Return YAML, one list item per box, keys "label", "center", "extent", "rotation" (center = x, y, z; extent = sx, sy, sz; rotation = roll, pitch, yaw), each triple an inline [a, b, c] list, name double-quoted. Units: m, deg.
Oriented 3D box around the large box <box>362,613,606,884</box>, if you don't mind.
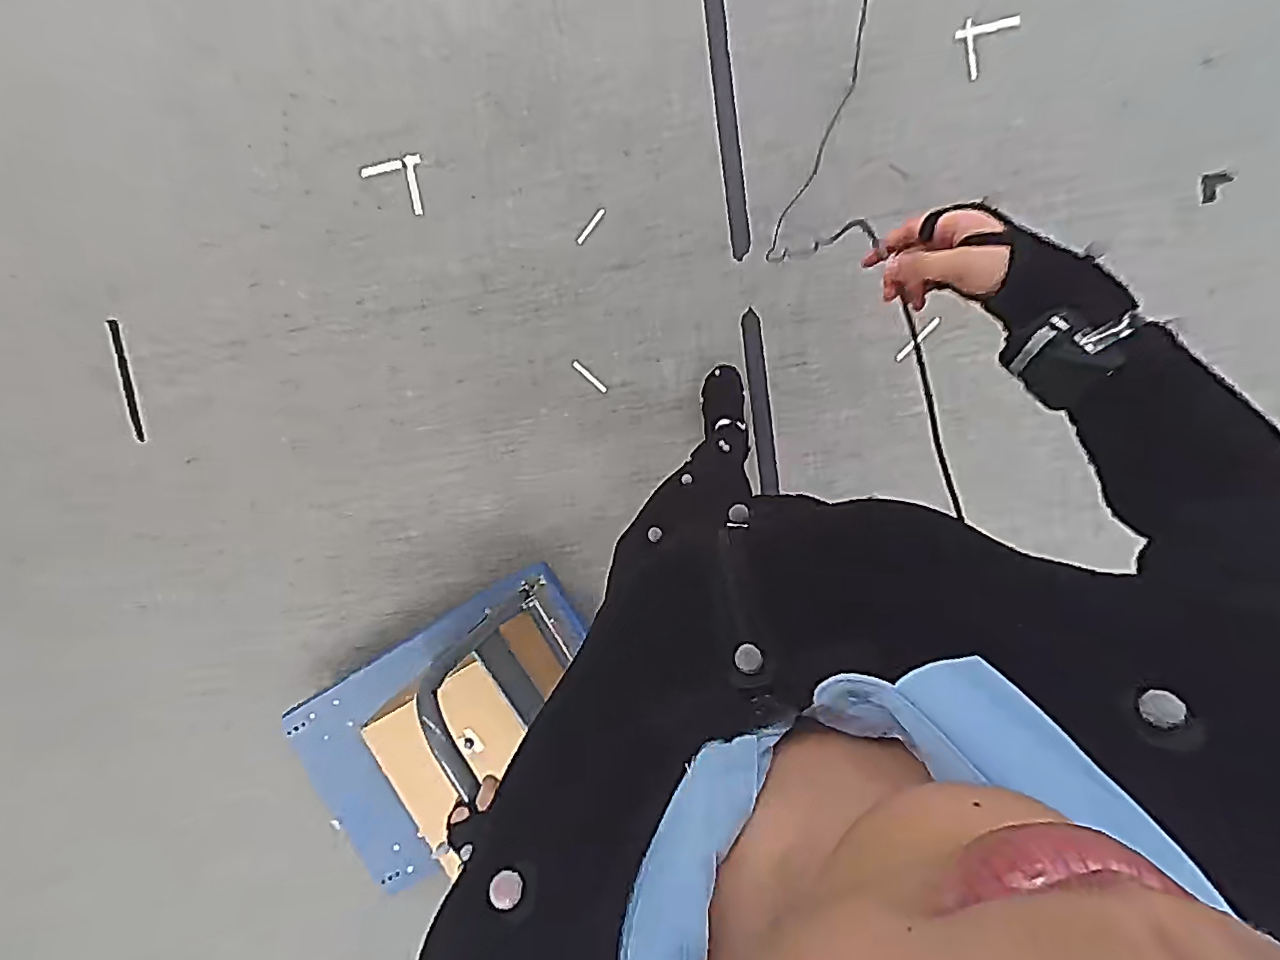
- label: "large box"
  center: [-0.330, 0.590, 1.252]
  extent: [0.320, 0.320, 0.408]
  rotation: [-31, 90, 6]
